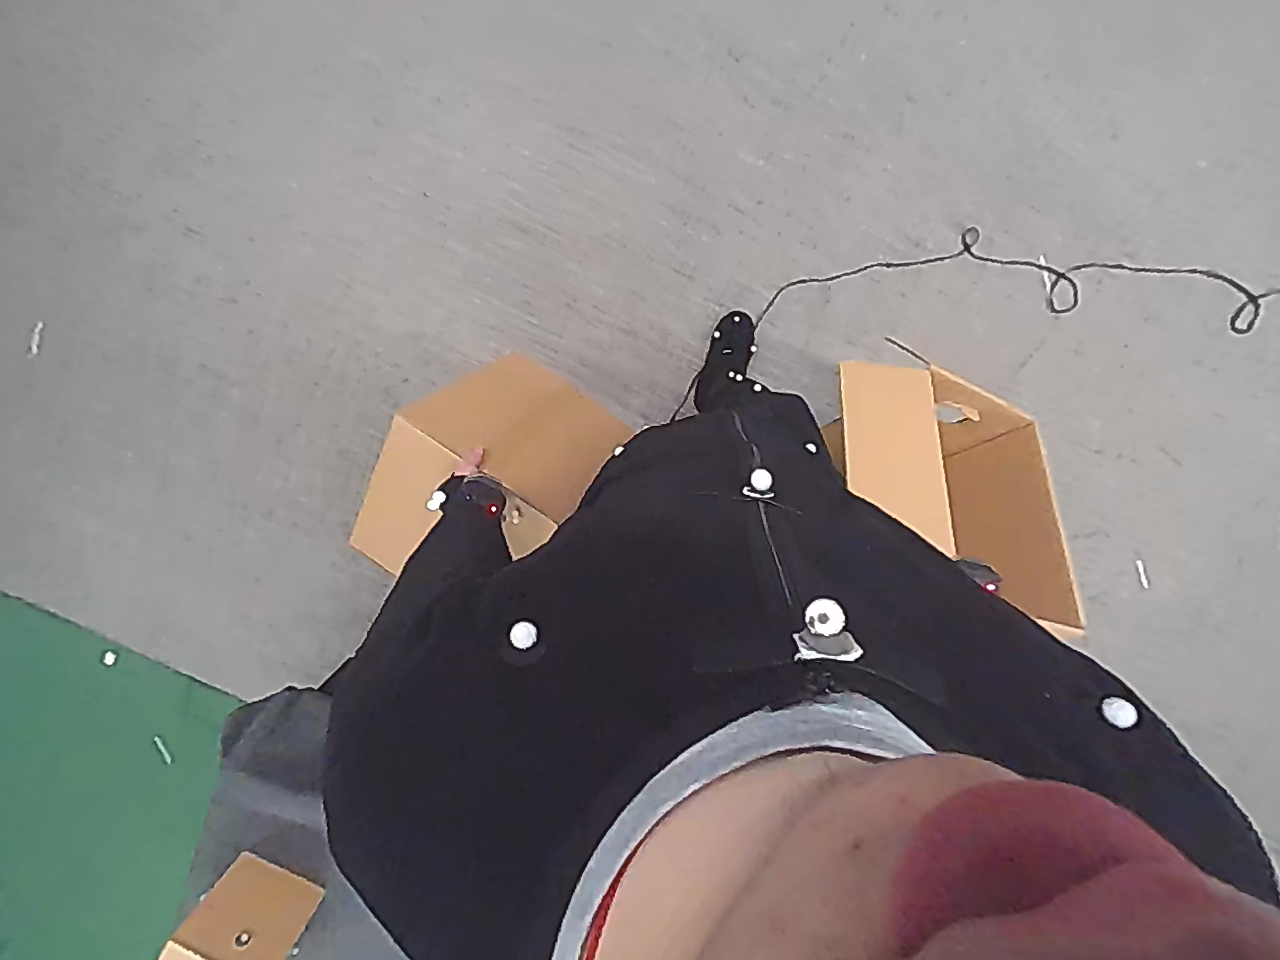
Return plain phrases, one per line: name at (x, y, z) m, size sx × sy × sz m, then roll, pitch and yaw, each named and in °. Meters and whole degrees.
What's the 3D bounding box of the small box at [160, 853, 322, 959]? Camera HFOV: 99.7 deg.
small box at (-0.727, 0.833, 0.984) m, size 0.179 × 0.176 × 0.168 m, roll 31°, pitch 103°, yaw -4°
